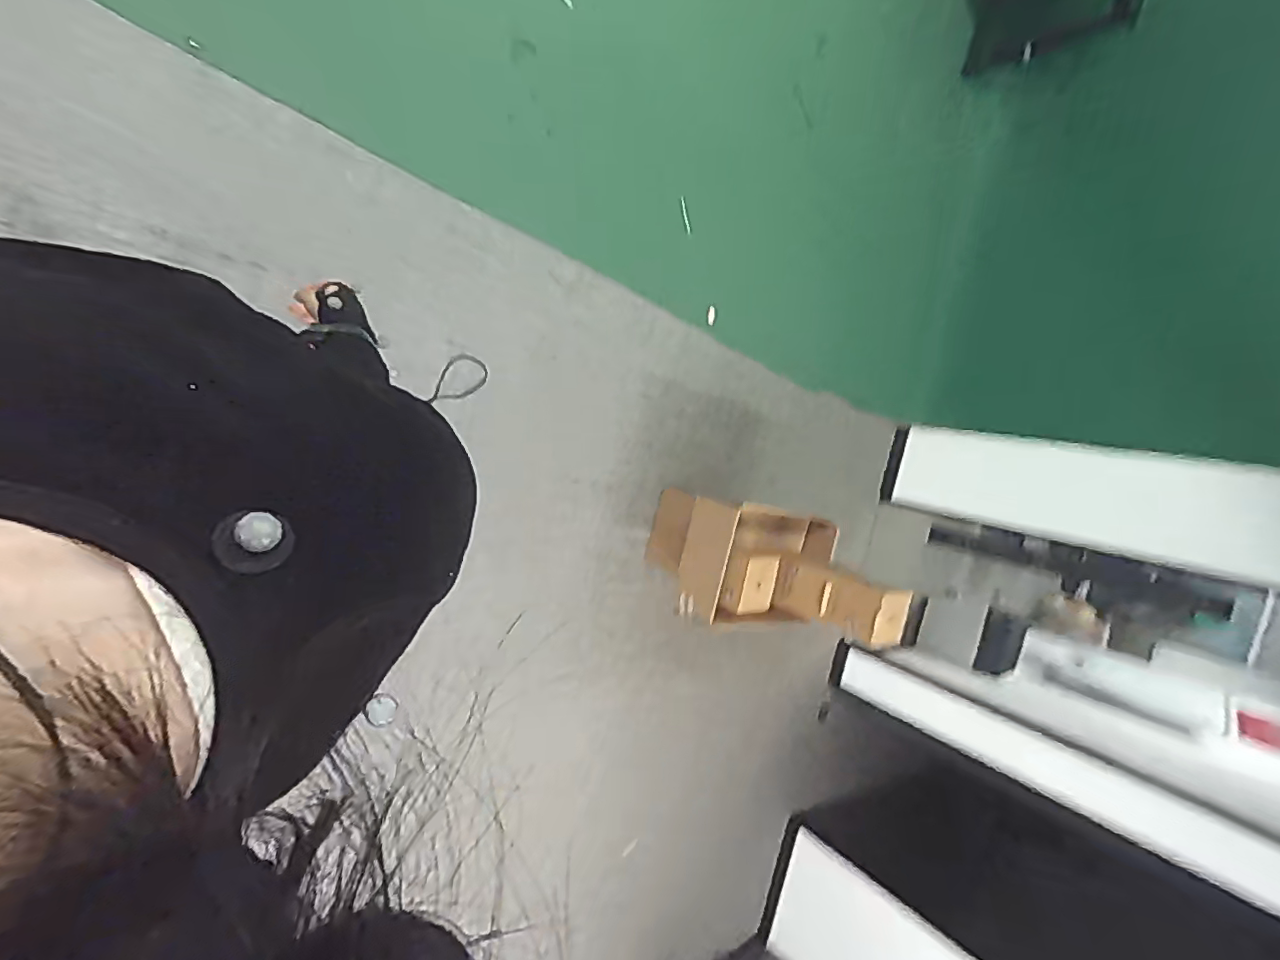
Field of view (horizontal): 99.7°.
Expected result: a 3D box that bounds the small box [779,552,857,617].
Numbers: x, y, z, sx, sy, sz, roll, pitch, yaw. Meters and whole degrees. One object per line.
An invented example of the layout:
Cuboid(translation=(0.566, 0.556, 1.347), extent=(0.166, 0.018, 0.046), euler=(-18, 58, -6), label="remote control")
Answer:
Cuboid(translation=(0.590, 0.343, 1.800), extent=(0.179, 0.176, 0.168), euler=(4, 99, -39), label="small box")

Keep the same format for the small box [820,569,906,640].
Cuboid(translation=(0.687, 0.381, 1.675), extent=(0.179, 0.176, 0.168), euler=(8, 97, -39), label="small box")
